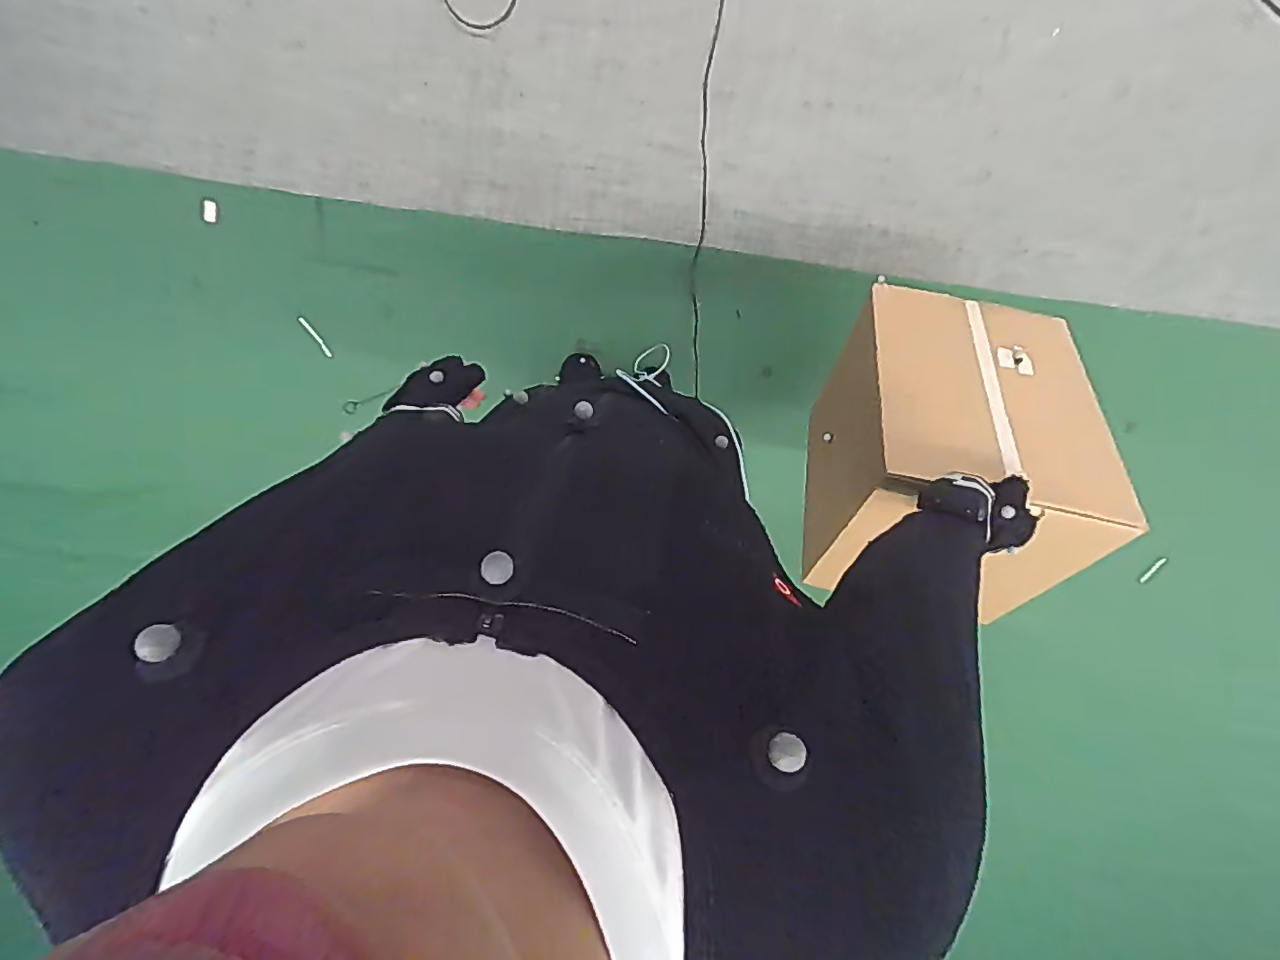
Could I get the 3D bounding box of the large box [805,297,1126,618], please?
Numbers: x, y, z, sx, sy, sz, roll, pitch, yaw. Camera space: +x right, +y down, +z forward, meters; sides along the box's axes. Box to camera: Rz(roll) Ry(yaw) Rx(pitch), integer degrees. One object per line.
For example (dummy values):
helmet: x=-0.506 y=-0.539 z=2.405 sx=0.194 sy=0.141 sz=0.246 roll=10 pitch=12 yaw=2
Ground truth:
large box: x=0.474 y=-0.035 z=0.903 sx=0.320 sy=0.408 sz=0.320 roll=13 pitch=144 yaw=2
